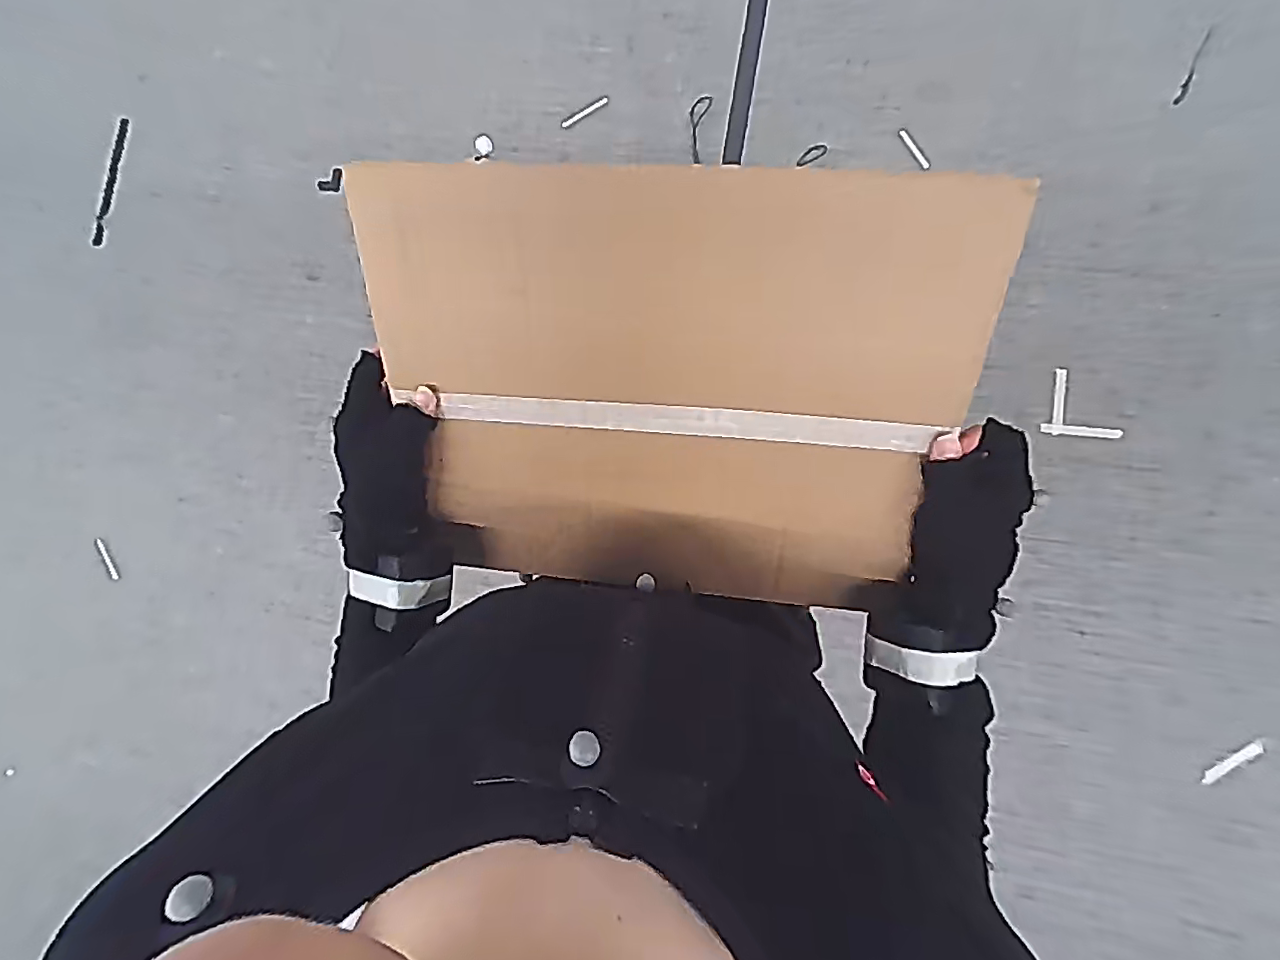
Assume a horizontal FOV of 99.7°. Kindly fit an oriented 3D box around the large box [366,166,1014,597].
[{"bbox_3d":[0.034,-0.121,0.528,0.408,0.320,0.320,5,121,7],"label":"large box"}]
